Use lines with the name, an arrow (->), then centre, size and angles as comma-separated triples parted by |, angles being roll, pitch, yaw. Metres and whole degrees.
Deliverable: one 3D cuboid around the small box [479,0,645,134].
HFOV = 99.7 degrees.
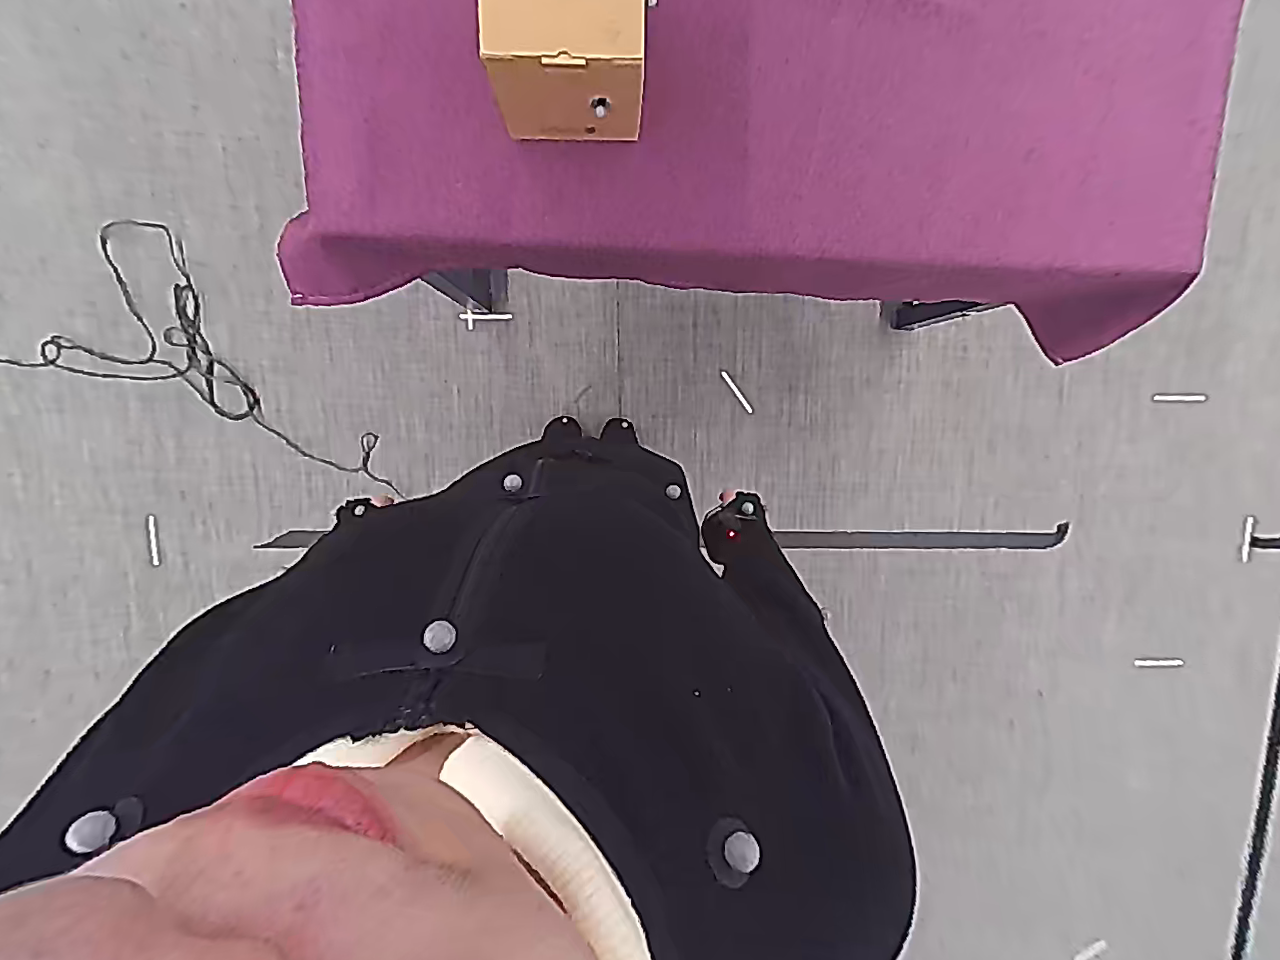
small box -> -0.079, -0.517, 0.604 | 0.168, 0.176, 0.179 | 0, 98, -3
